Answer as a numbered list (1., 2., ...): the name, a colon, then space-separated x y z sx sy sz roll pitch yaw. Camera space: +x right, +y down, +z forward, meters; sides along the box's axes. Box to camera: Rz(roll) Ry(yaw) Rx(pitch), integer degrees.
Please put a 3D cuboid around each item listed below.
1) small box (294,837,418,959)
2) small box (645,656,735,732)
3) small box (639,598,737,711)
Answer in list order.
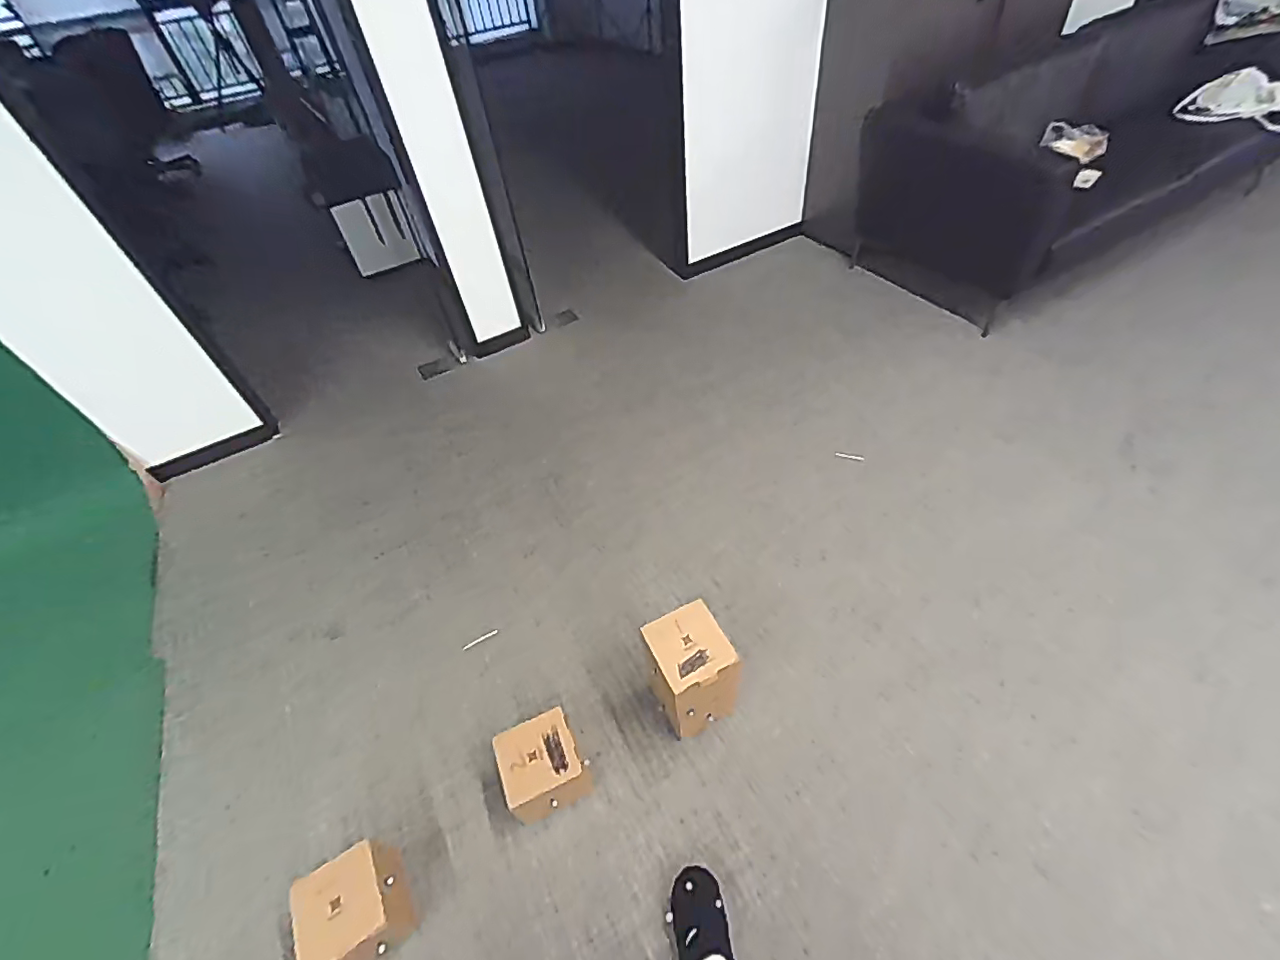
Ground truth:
1. small box: -0.597 0.906 1.150 0.168 0.176 0.179 -27 49 -17
2. small box: 0.129 0.525 1.397 0.168 0.176 0.179 -24 50 -14
3. small box: 0.114 0.418 1.272 0.168 0.176 0.179 -23 48 -13
